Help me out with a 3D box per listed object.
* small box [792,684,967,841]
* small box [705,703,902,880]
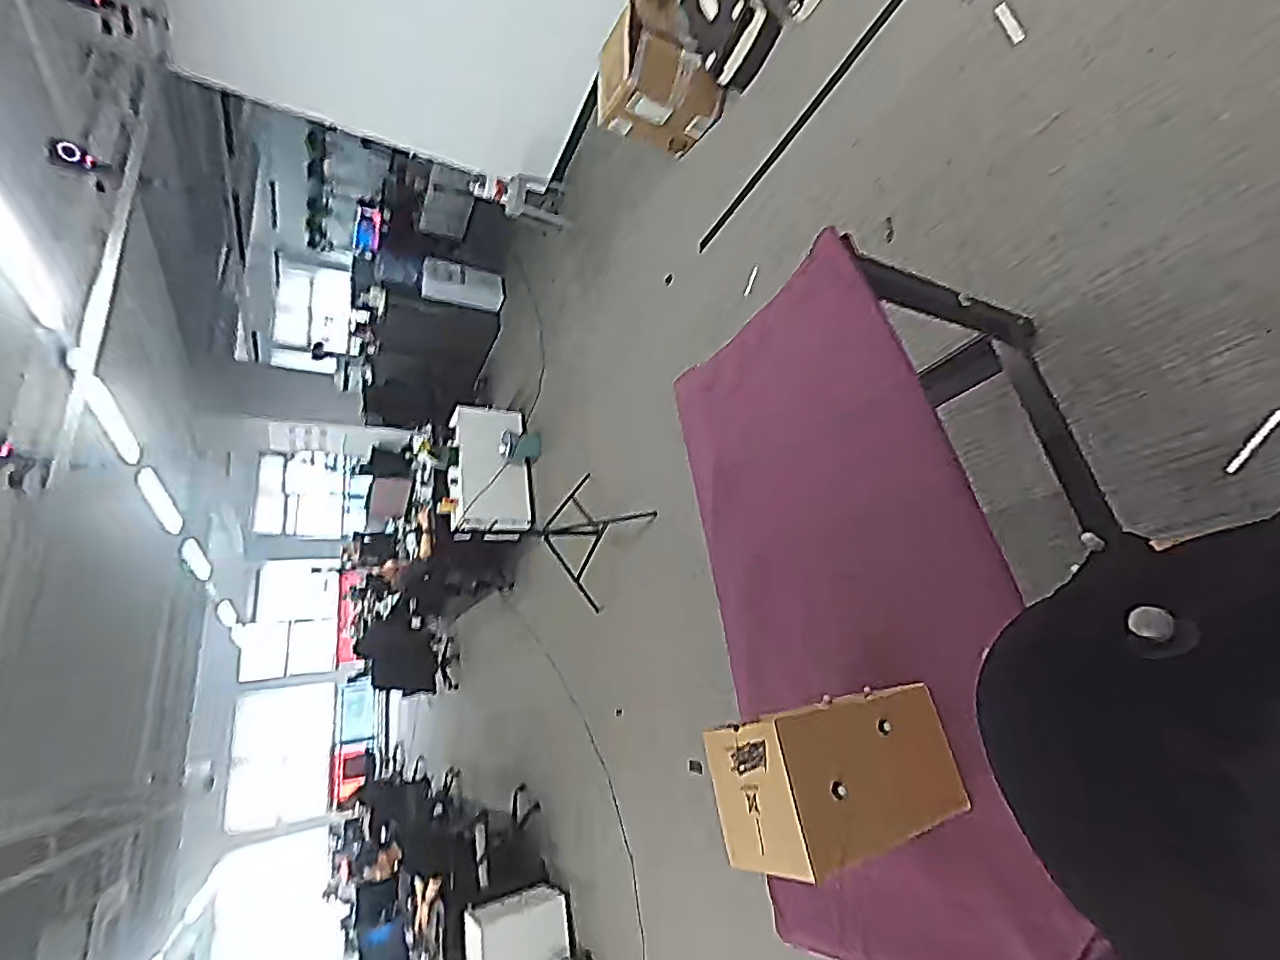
[{"bbox_3d":[0.360,0.426,0.834,0.168,0.176,0.179,-43,51,50],"label":"small box"},{"bbox_3d":[0.220,0.415,0.748,0.168,0.176,0.179,-43,51,50],"label":"small box"}]
